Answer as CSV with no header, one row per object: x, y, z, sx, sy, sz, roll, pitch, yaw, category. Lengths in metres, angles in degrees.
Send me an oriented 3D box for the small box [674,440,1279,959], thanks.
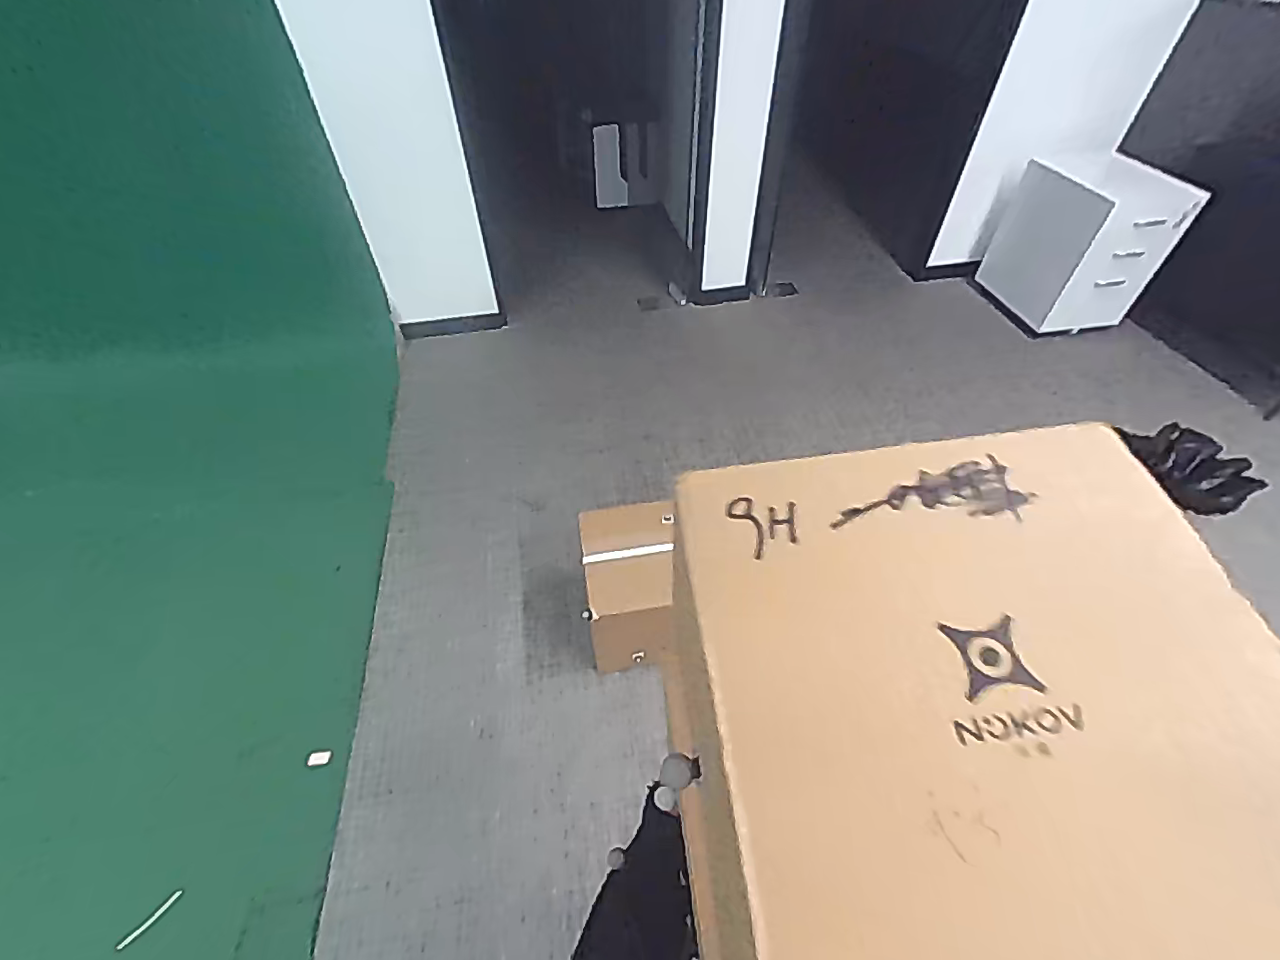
0.107,0.107,0.232,0.168,0.176,0.179,-6,59,-1,small box
